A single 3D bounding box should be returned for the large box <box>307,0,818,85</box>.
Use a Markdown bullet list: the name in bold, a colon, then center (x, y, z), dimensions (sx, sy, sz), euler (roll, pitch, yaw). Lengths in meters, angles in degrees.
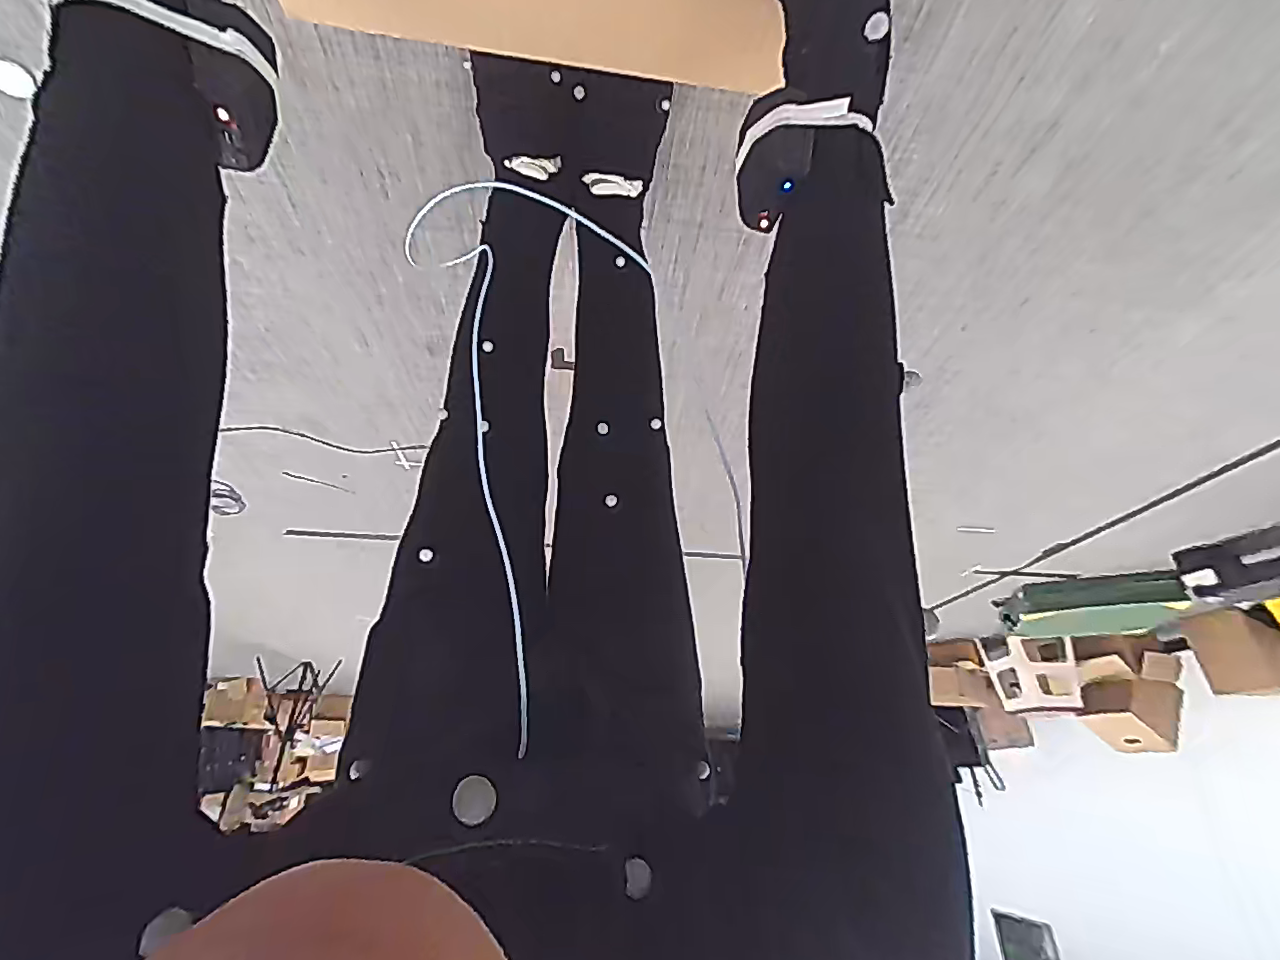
- **large box**: center (-0.048, -0.559, 0.394), dimensions (0.408, 0.320, 0.320), euler (4, 151, -7)
